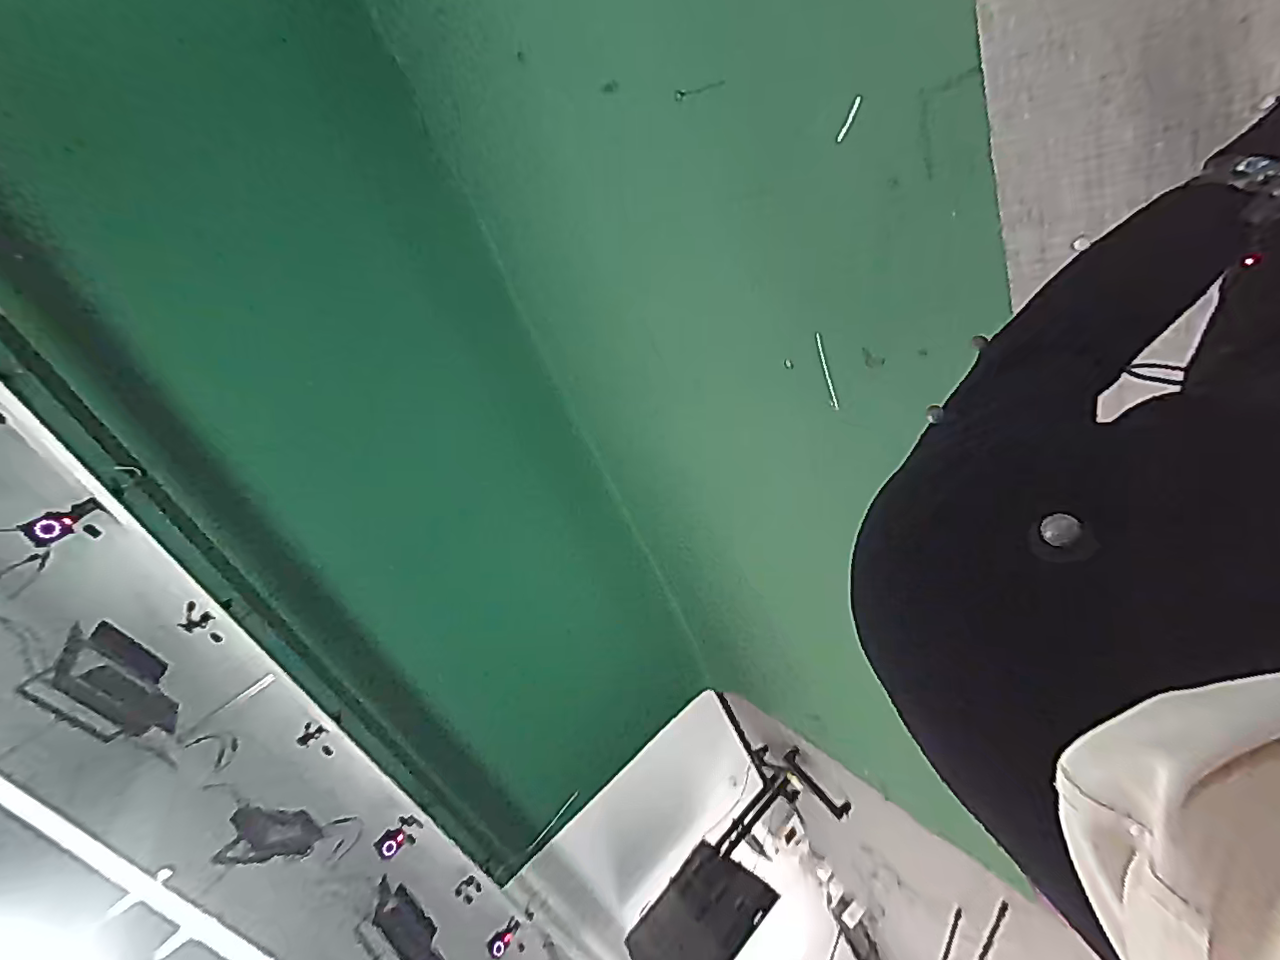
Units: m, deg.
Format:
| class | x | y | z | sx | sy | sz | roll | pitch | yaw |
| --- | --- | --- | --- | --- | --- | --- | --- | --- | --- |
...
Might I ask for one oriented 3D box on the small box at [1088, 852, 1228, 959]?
| class | x | y | z | sx | sy | sz | roll | pitch | yaw |
| --- | --- | --- | --- | --- | --- | --- | --- | --- | --- |
| small box | 1.079 | 0.938 | 1.132 | 0.179 | 0.176 | 0.168 | 20 | 141 | 52 |
